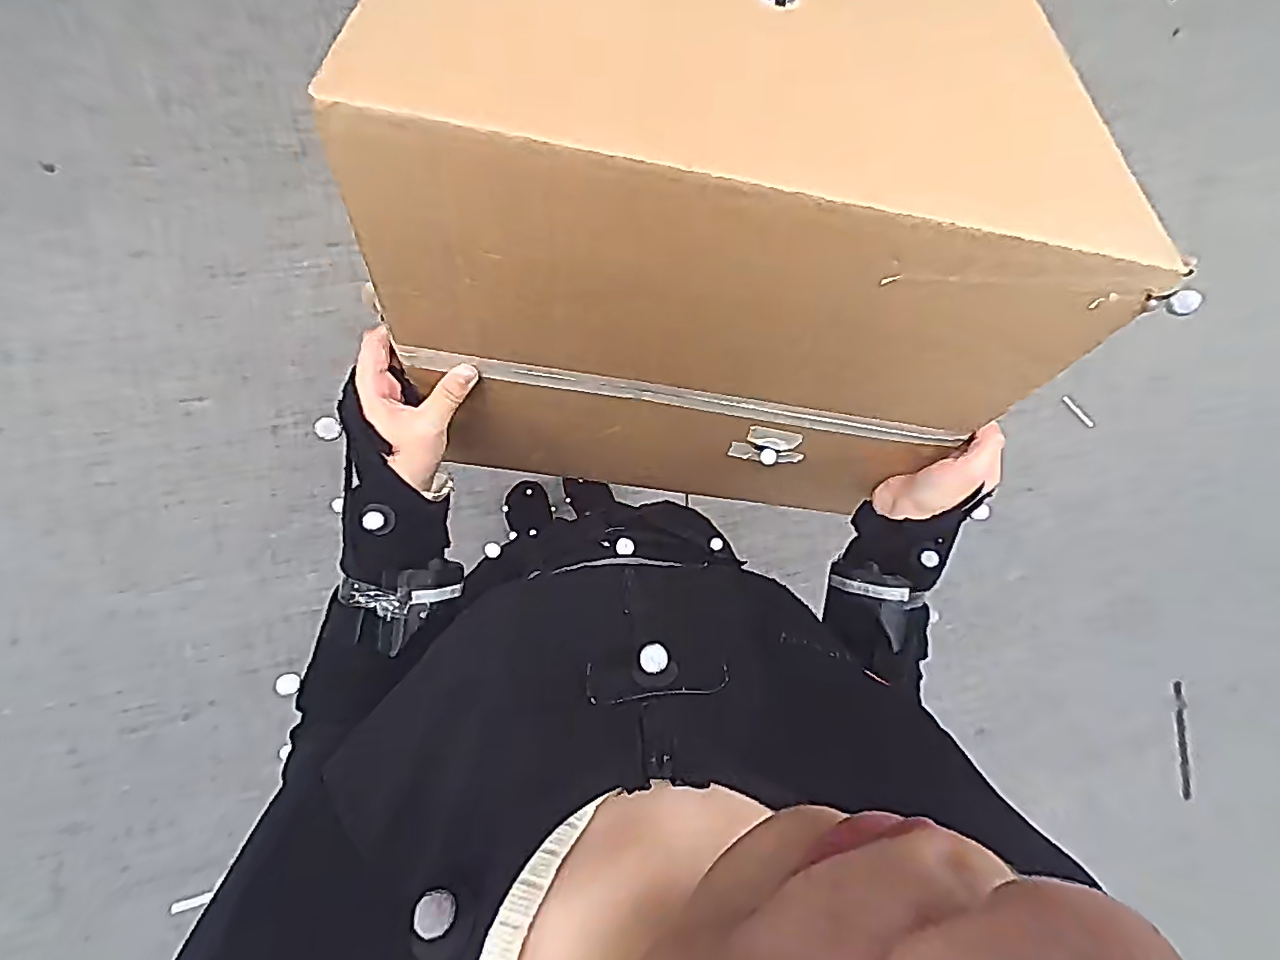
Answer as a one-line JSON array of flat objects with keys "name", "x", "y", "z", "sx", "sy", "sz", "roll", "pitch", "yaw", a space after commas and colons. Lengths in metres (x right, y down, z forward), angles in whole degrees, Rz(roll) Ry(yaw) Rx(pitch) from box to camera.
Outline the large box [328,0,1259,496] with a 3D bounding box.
[{"name": "large box", "x": 0.063, "y": -0.206, "z": 0.416, "sx": 0.408, "sy": 0.320, "sz": 0.320, "roll": 7, "pitch": 64, "yaw": -7}]
